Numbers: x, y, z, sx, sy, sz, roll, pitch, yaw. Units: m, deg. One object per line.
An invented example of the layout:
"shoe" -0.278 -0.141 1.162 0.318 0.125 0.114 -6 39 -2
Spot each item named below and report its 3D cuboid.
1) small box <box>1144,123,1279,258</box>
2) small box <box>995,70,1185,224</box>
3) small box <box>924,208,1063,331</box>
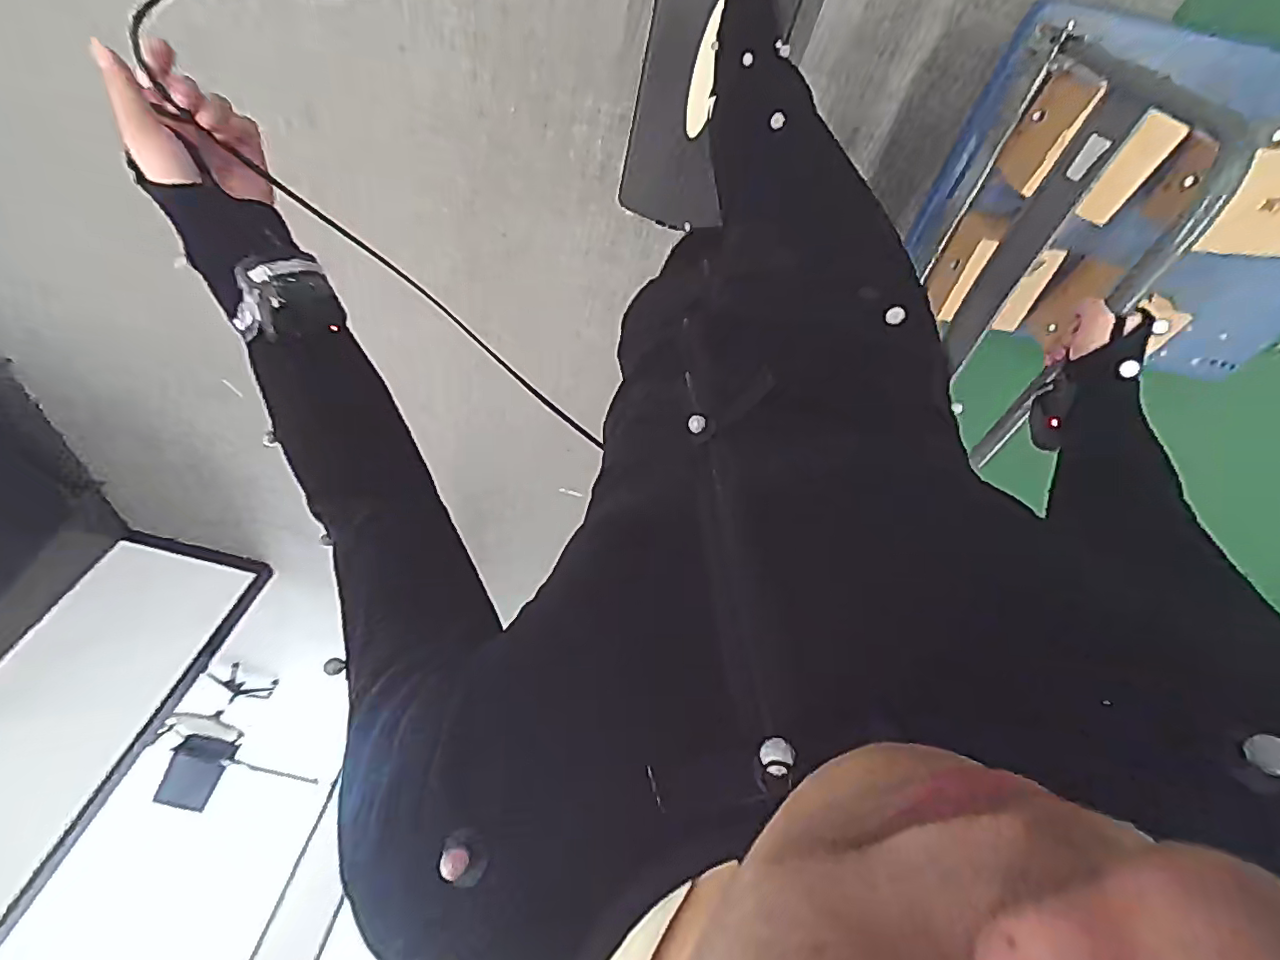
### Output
"small box" 1.081 -0.524 0.973 0.179 0.176 0.168 7 138 6
"small box" 0.786 -0.597 0.967 0.179 0.176 0.168 18 138 -5
"small box" 0.726 -0.446 1.140 0.168 0.176 0.179 11 139 2
